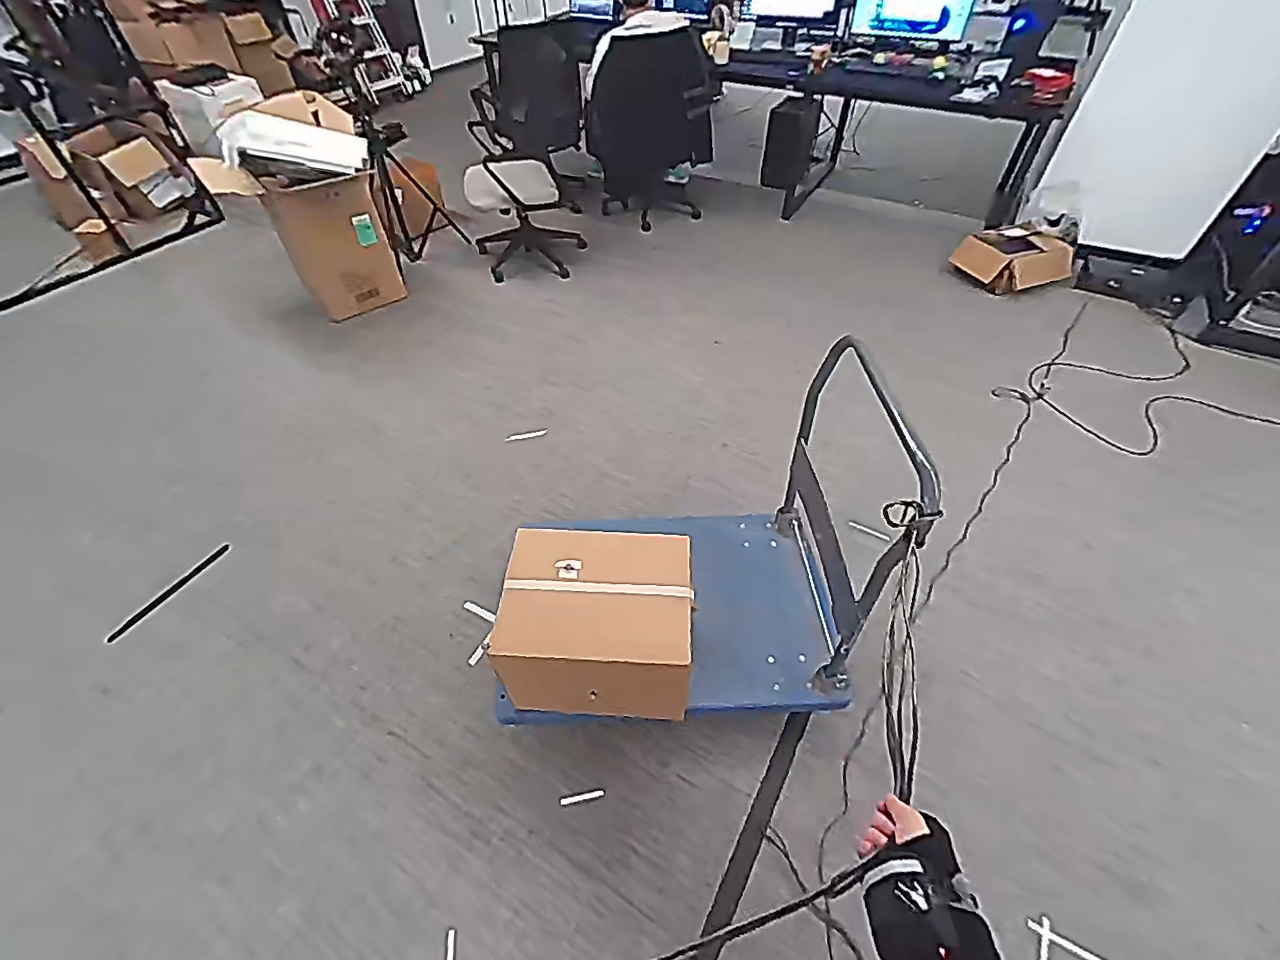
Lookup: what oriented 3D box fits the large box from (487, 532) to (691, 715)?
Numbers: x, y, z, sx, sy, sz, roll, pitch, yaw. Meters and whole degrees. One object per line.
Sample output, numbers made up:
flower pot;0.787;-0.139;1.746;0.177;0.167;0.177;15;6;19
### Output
large box;-0.091;0.337;1.258;0.408;0.320;0.320;2;47;3
